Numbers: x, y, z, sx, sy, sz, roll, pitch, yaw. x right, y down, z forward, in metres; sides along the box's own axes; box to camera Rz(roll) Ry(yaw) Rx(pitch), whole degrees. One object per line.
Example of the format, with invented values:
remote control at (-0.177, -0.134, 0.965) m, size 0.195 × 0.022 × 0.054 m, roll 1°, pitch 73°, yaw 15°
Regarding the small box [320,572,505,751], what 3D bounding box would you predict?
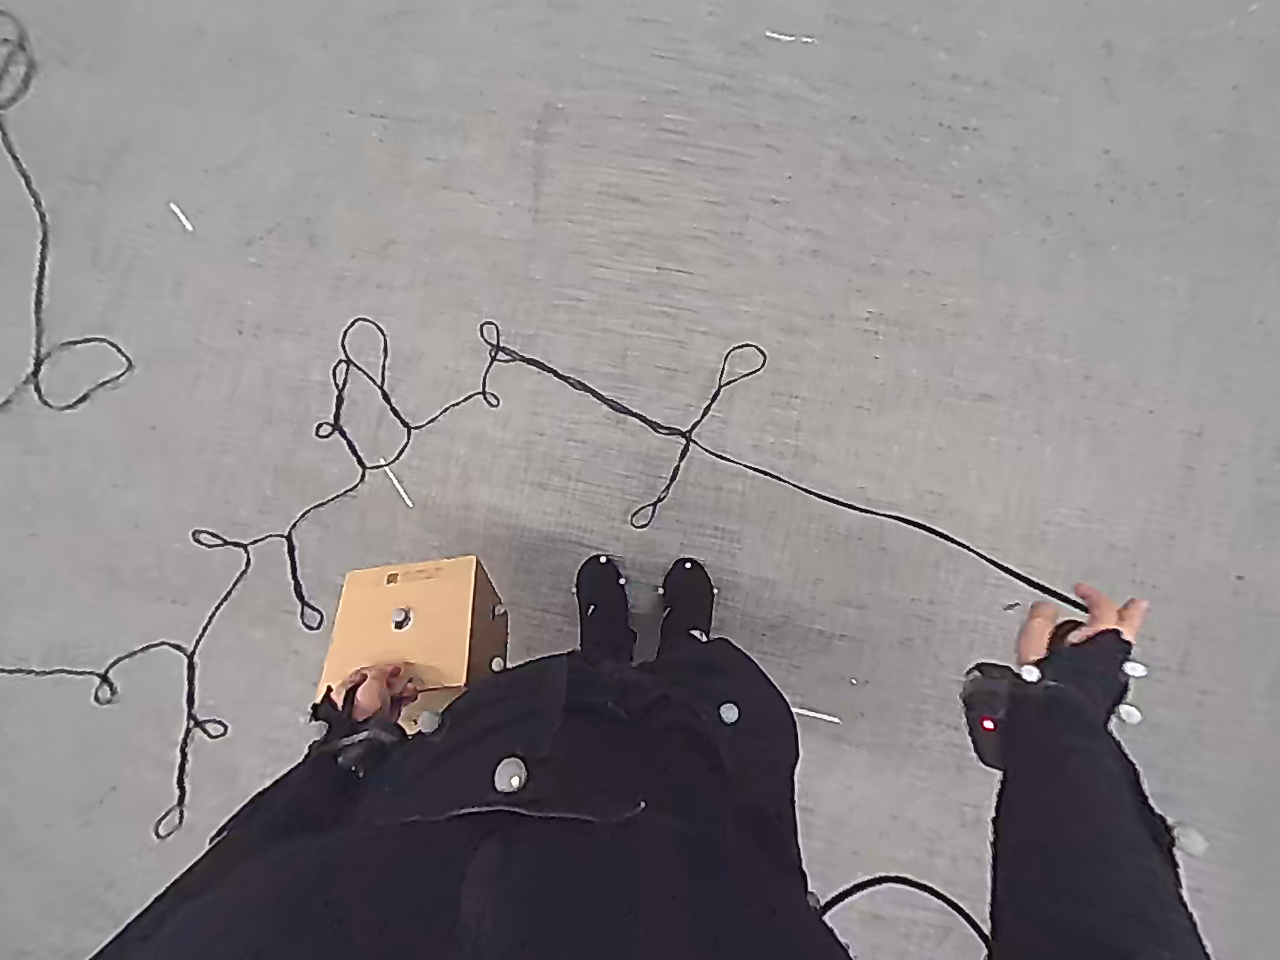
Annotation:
small box at (-0.276, 0.229, 0.700) m, size 0.168 × 0.179 × 0.176 m, roll -8°, pitch 52°, yaw -3°
